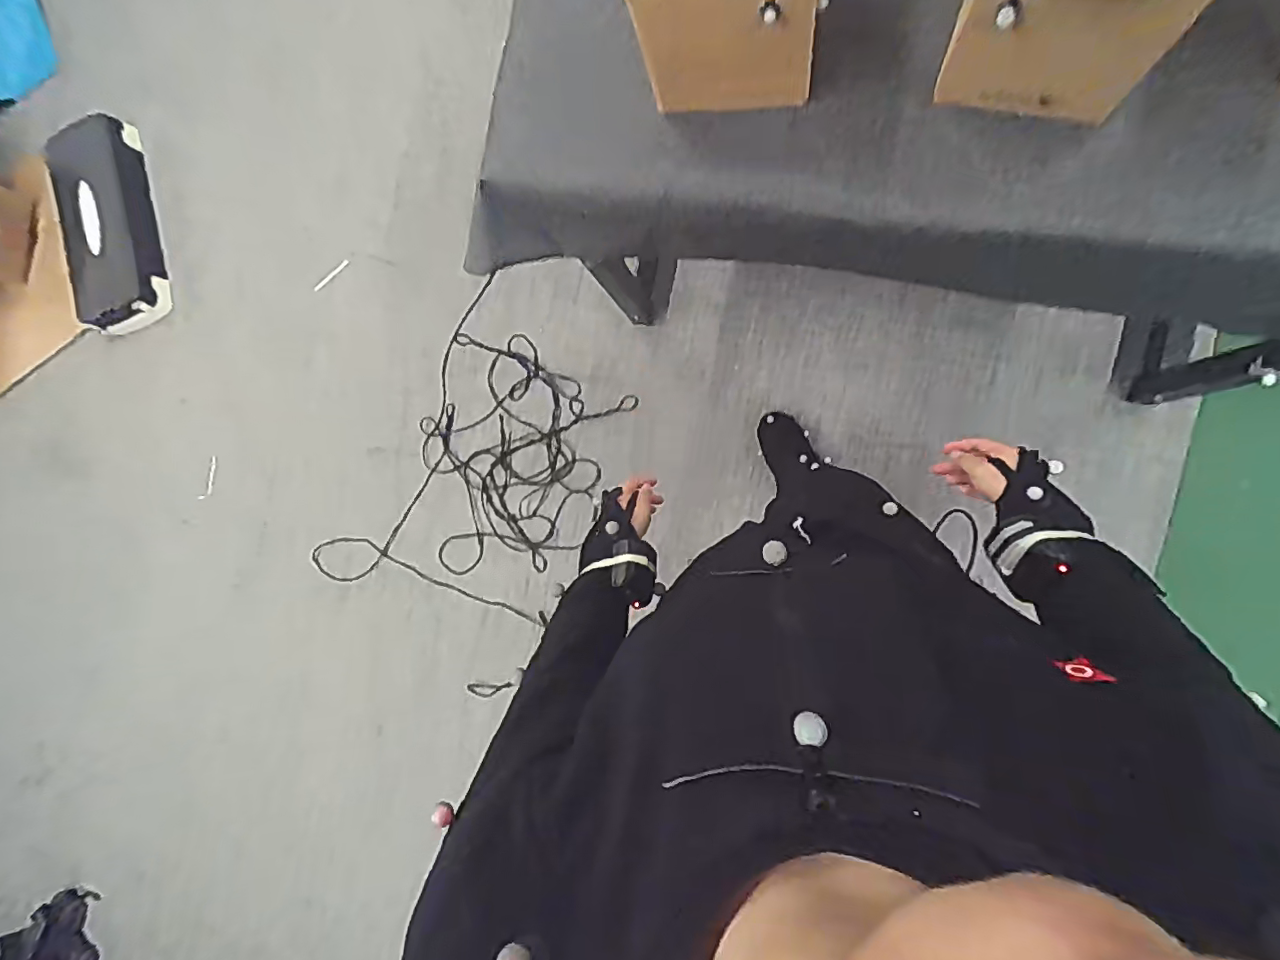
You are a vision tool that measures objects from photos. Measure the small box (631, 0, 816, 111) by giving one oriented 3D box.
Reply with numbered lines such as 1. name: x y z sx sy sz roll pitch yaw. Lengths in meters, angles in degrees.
1. small box: 0.094 -0.519 0.561 0.179 0.176 0.168 5 90 12
